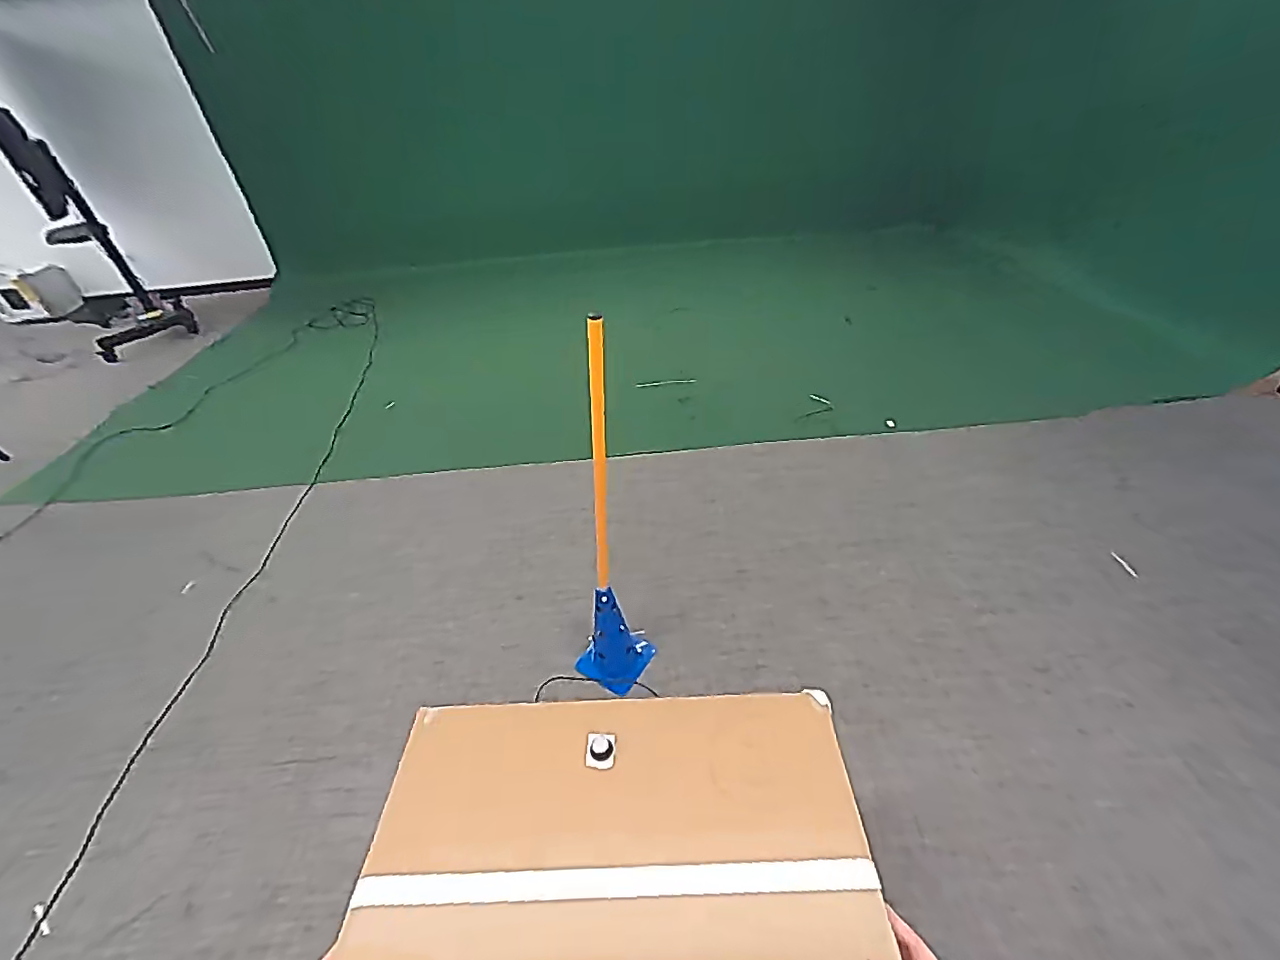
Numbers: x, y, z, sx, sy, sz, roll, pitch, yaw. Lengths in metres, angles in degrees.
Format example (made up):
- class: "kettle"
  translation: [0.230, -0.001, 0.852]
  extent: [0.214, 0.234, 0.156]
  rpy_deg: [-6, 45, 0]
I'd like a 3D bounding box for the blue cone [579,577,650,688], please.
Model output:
- class: "blue cone"
  translation: [-0.090, 0.425, 1.613]
  extent: [0.192, 0.380, 0.193]
  rpy_deg: [18, 43, 25]
